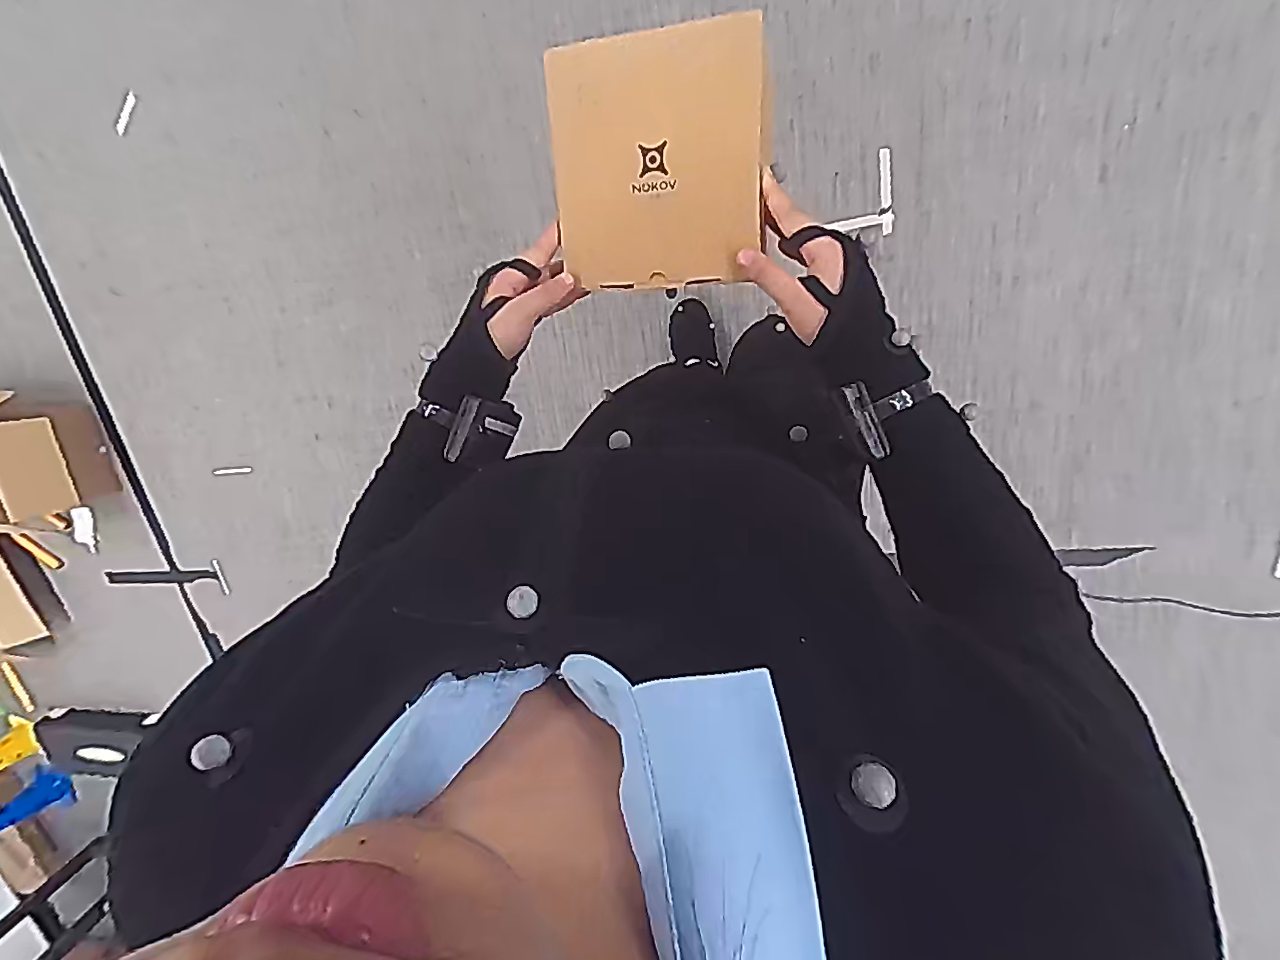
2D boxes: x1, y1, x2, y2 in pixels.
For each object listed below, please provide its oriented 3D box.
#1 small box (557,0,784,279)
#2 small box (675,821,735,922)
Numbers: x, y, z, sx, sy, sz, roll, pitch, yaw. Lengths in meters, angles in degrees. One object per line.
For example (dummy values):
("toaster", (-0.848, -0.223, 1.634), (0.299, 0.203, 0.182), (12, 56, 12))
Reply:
("small box", (0.040, -0.276, 0.482), (0.168, 0.176, 0.179), (2, 111, 15))
("small box", (0.198, 1.156, 1.603), (0.168, 0.176, 0.179), (-2, 108, 10))
